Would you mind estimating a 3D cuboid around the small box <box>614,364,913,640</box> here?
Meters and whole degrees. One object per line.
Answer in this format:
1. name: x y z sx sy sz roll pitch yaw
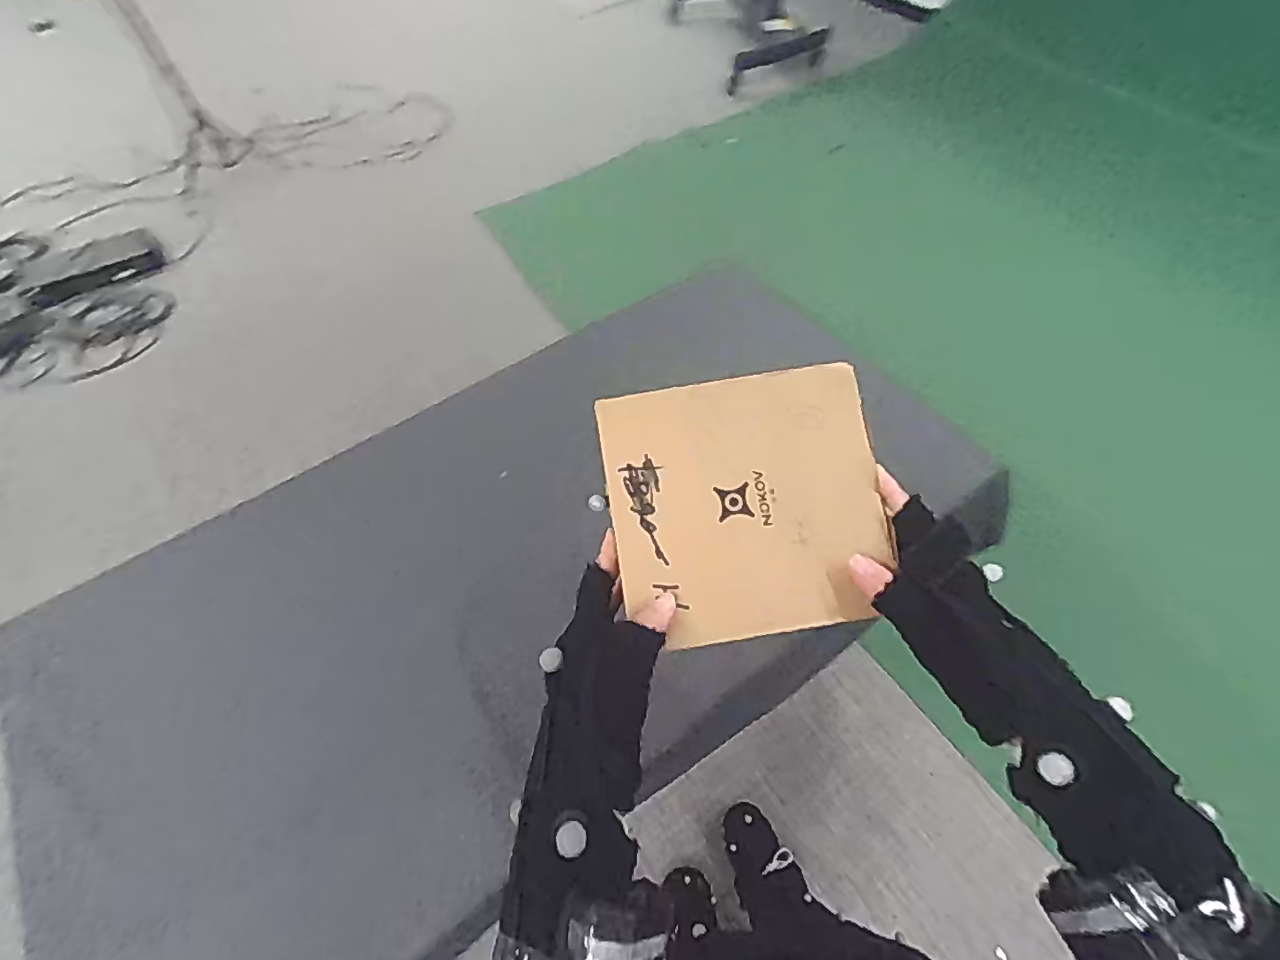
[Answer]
1. small box: 0.076 0.024 0.428 0.179 0.176 0.168 -8 80 -1
